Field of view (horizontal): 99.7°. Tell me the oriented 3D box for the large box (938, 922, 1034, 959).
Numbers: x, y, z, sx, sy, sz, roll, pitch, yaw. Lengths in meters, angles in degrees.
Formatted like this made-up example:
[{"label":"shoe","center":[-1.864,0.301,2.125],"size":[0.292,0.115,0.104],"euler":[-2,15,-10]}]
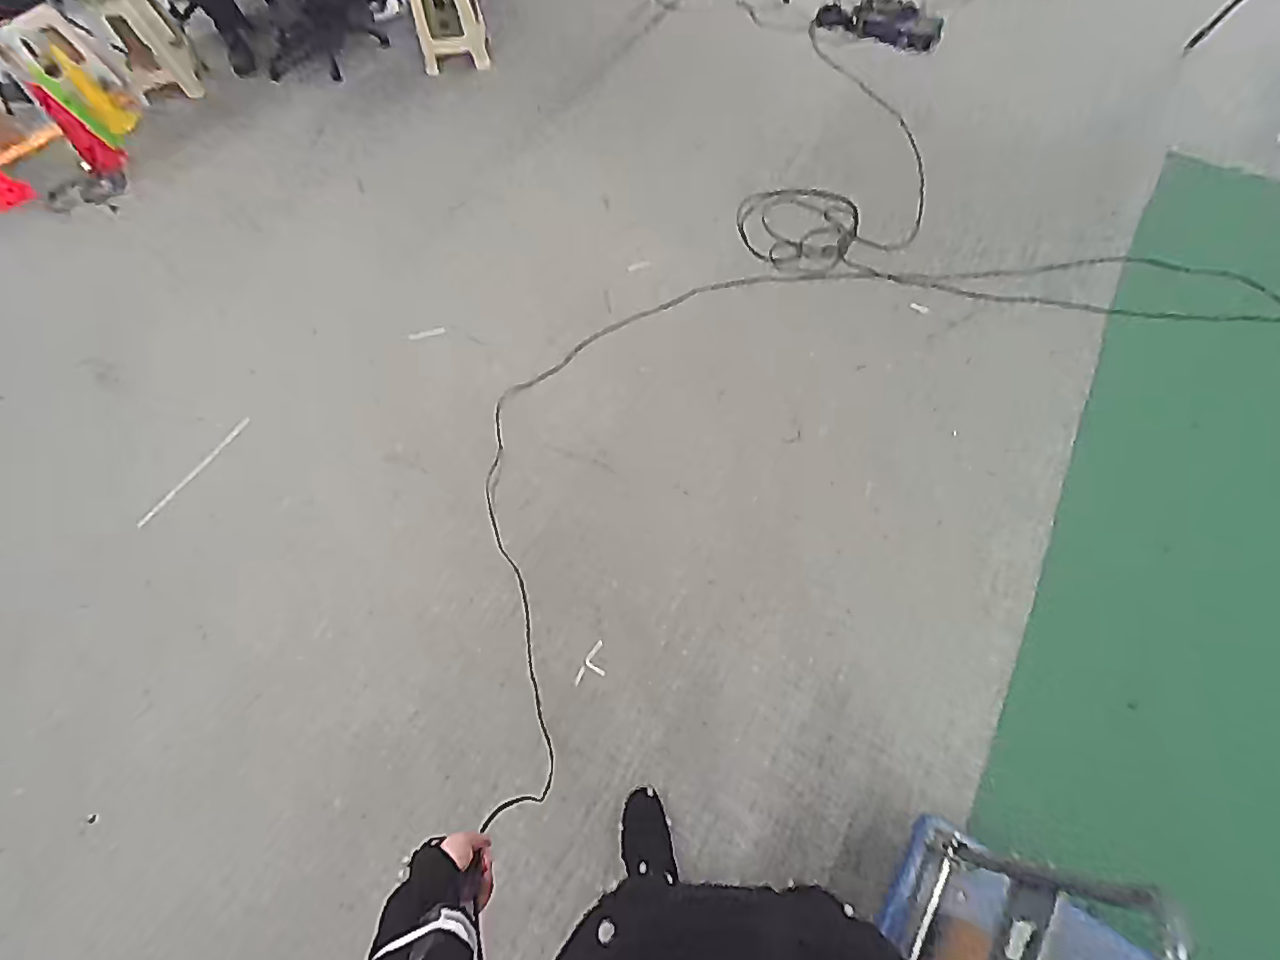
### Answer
[{"label":"large box","center":[0.700,1.008,0.838],"size":[0.408,0.320,0.320],"euler":[30,67,17]}]
